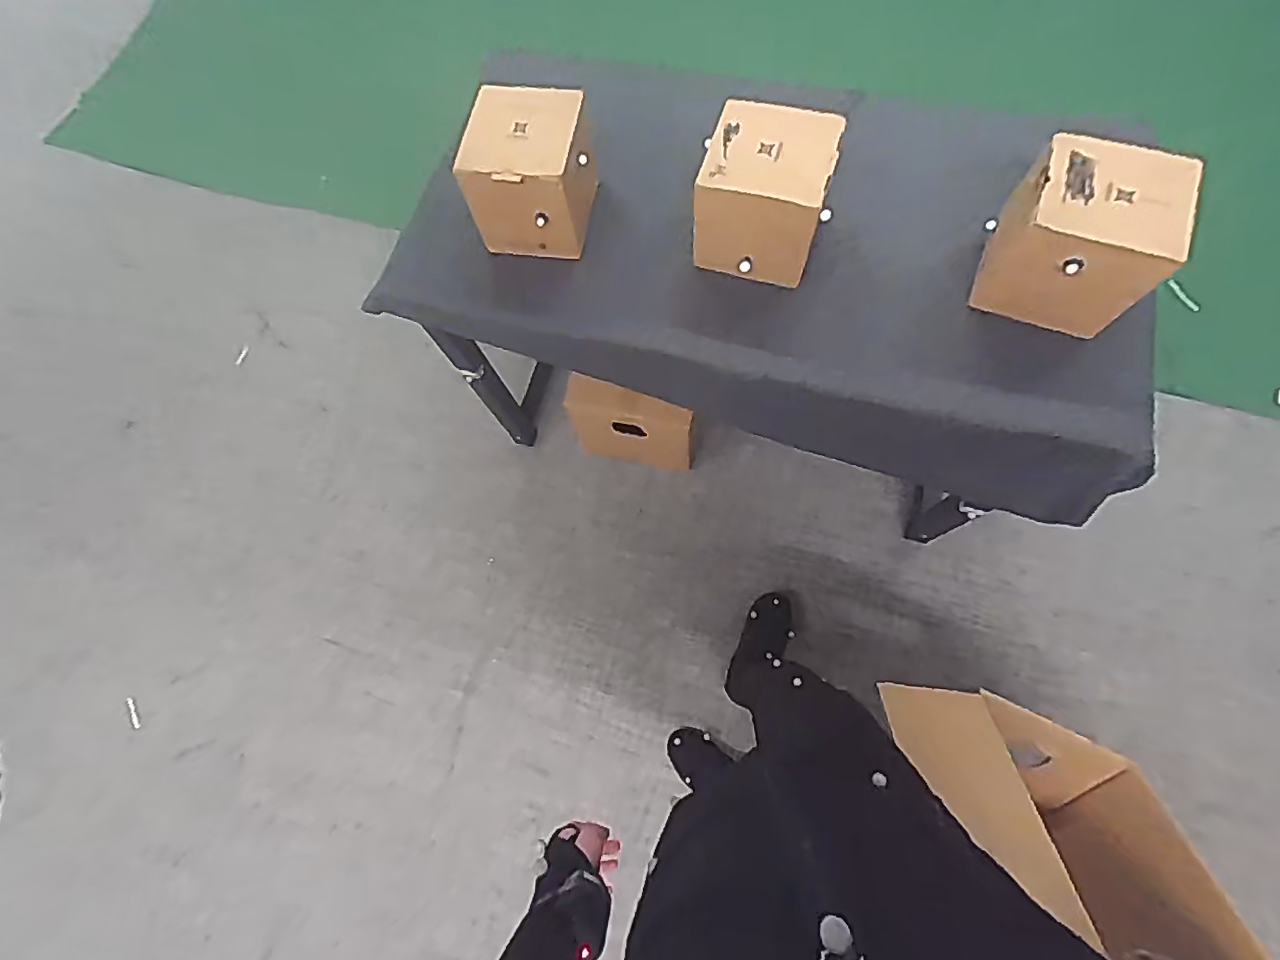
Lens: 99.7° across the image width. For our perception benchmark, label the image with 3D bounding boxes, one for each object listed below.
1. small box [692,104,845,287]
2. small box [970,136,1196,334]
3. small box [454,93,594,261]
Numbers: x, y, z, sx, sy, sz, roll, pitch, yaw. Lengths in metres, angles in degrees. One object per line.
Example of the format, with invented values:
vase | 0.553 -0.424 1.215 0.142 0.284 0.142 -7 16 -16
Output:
small box | 0.186 -0.424 0.828 0.179 0.176 0.168 17 74 10
small box | 0.602 -0.332 0.758 0.179 0.176 0.168 21 75 11
small box | -0.175 -0.485 0.880 0.168 0.176 0.179 7 70 5
